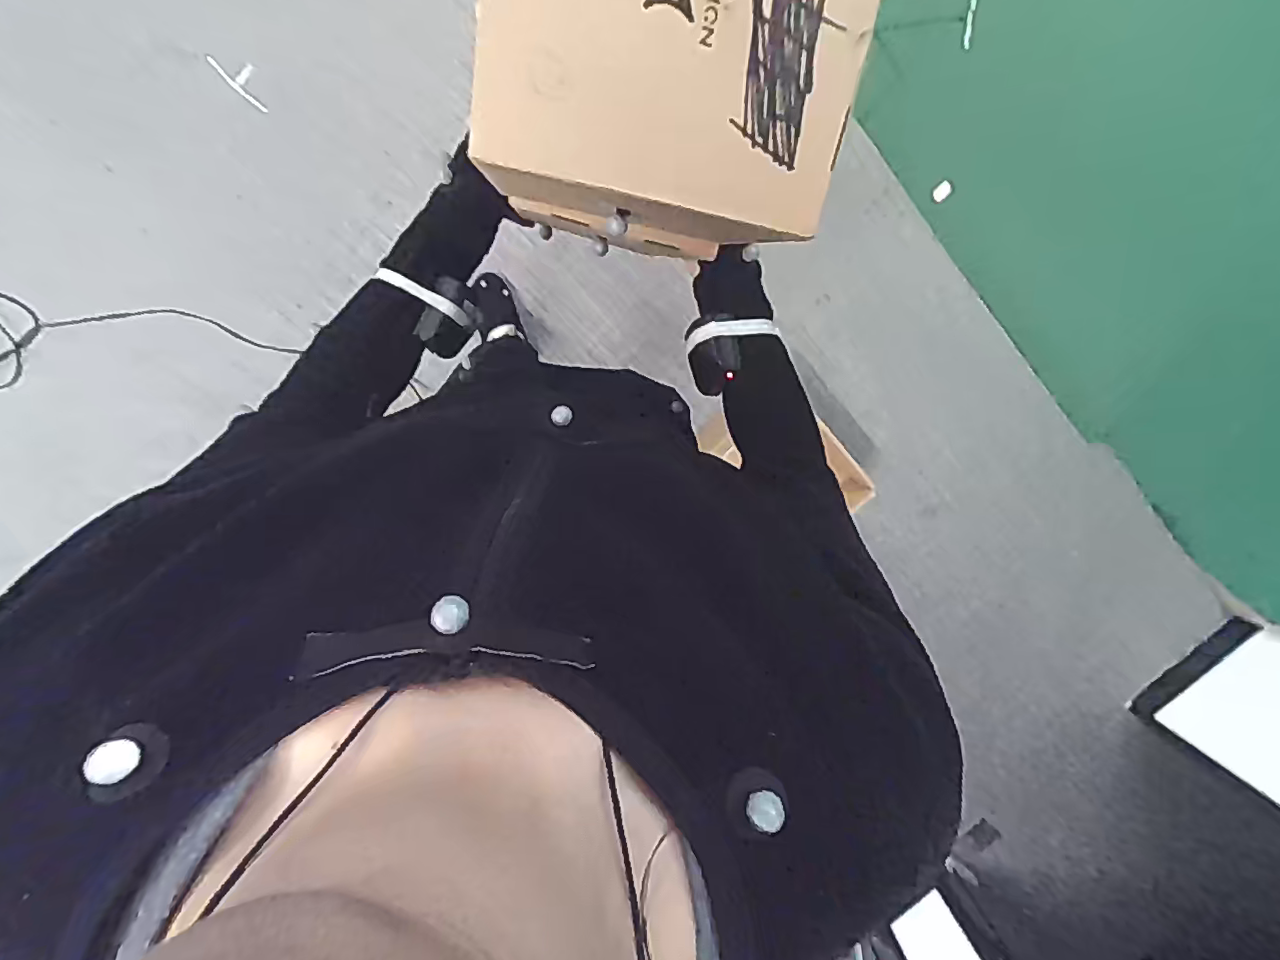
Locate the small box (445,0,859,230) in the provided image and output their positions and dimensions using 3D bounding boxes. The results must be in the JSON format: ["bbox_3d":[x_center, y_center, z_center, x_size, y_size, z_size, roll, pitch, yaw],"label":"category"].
[{"bbox_3d":[0.001,-0.246,0.302,0.179,0.176,0.168,7,112,-11],"label":"small box"}]

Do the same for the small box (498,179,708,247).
[{"bbox_3d":[-0.019,-0.308,0.454,0.168,0.176,0.179,10,112,-13],"label":"small box"}]
